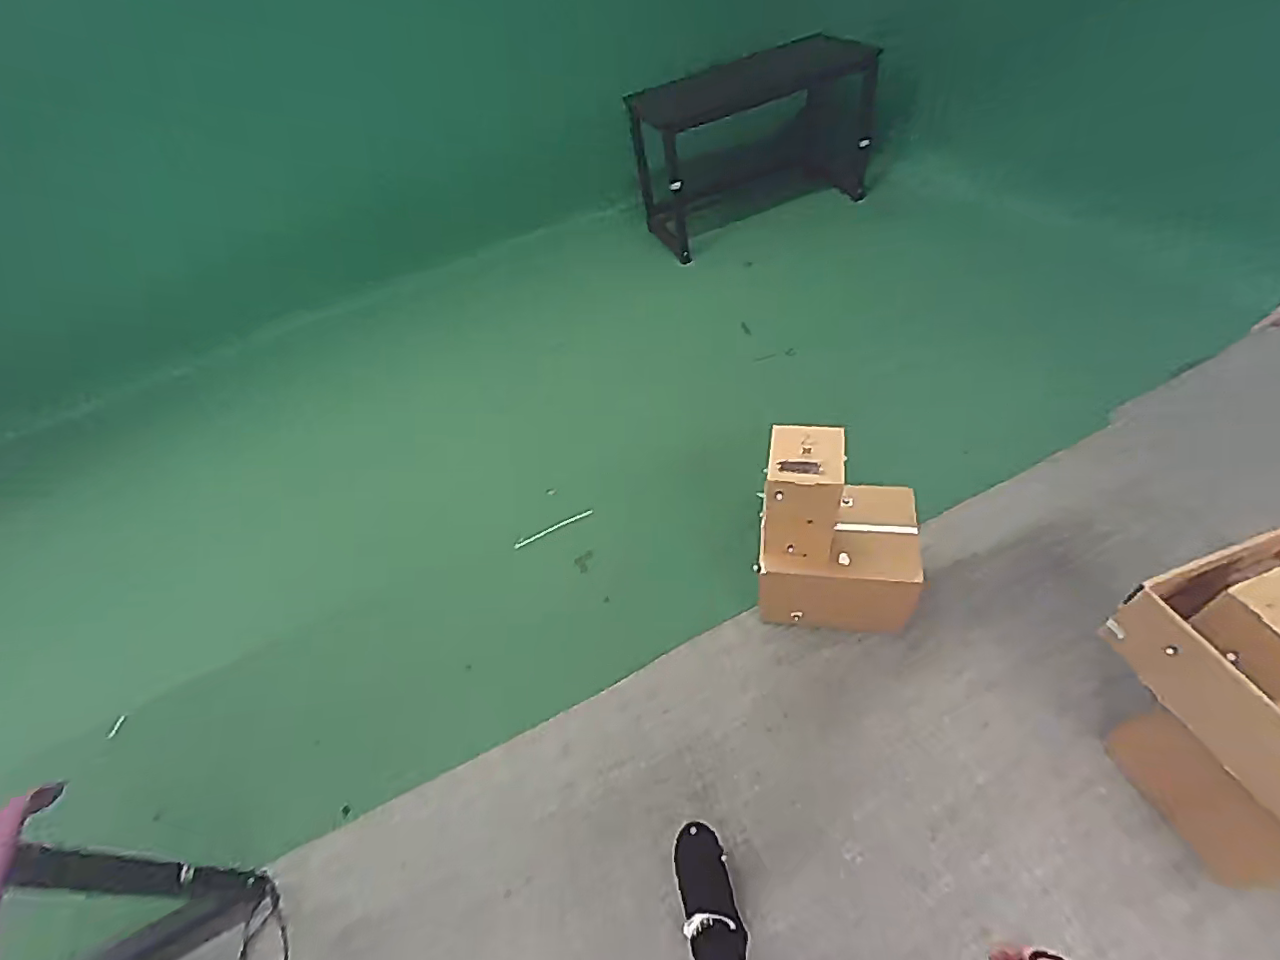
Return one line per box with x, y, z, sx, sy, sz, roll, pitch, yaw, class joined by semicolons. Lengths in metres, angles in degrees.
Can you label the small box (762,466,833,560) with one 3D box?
0.414;0.087;1.429;0.168;0.176;0.179;4;53;15;small box
